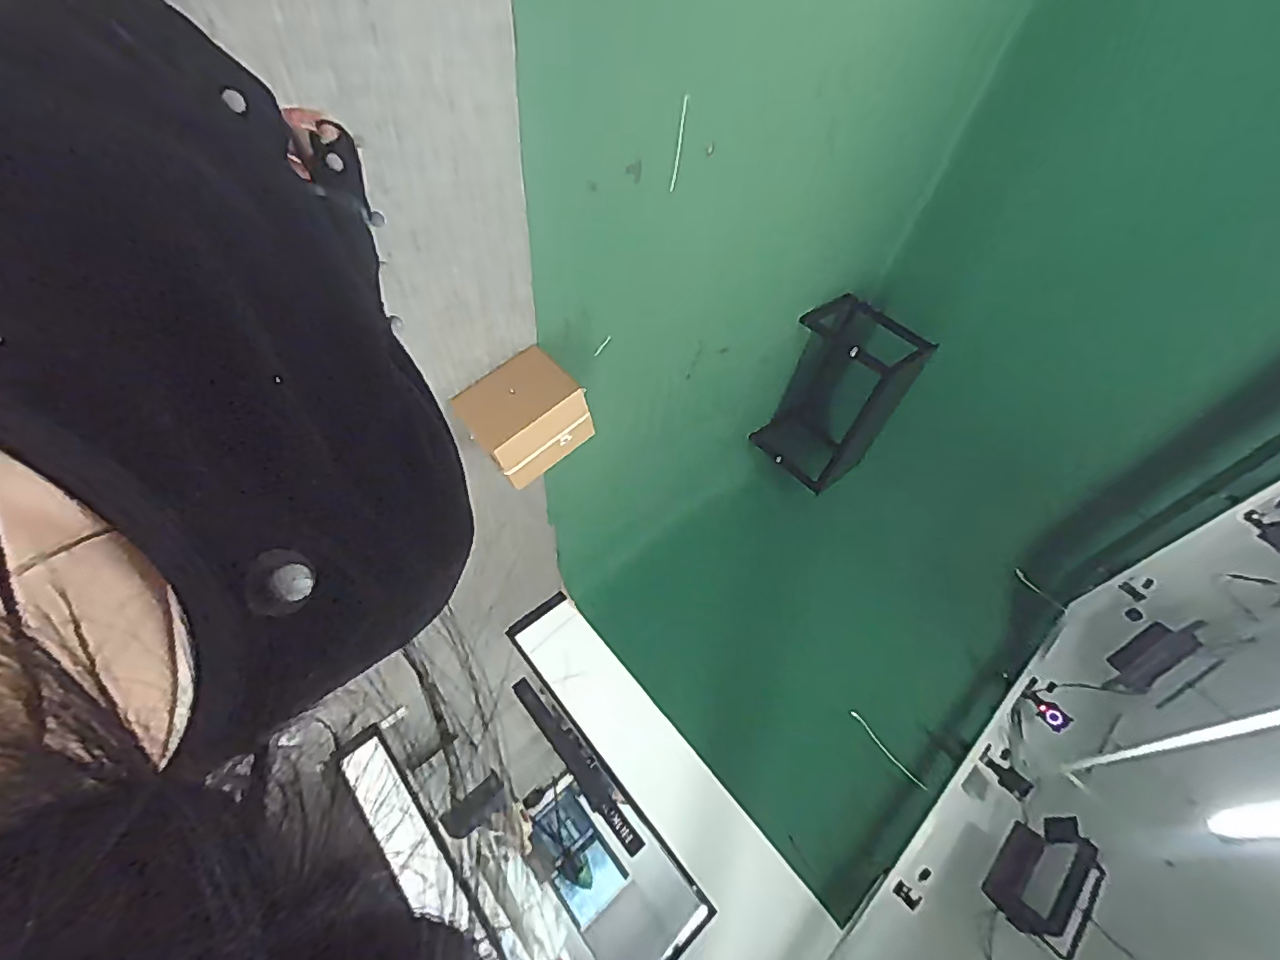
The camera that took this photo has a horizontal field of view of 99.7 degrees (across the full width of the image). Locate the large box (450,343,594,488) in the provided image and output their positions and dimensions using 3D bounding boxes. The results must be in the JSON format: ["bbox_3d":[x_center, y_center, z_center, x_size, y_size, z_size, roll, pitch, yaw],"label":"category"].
[{"bbox_3d":[-0.450,-0.254,2.119,0.408,0.320,0.320,-40,156,-15],"label":"large box"}]
